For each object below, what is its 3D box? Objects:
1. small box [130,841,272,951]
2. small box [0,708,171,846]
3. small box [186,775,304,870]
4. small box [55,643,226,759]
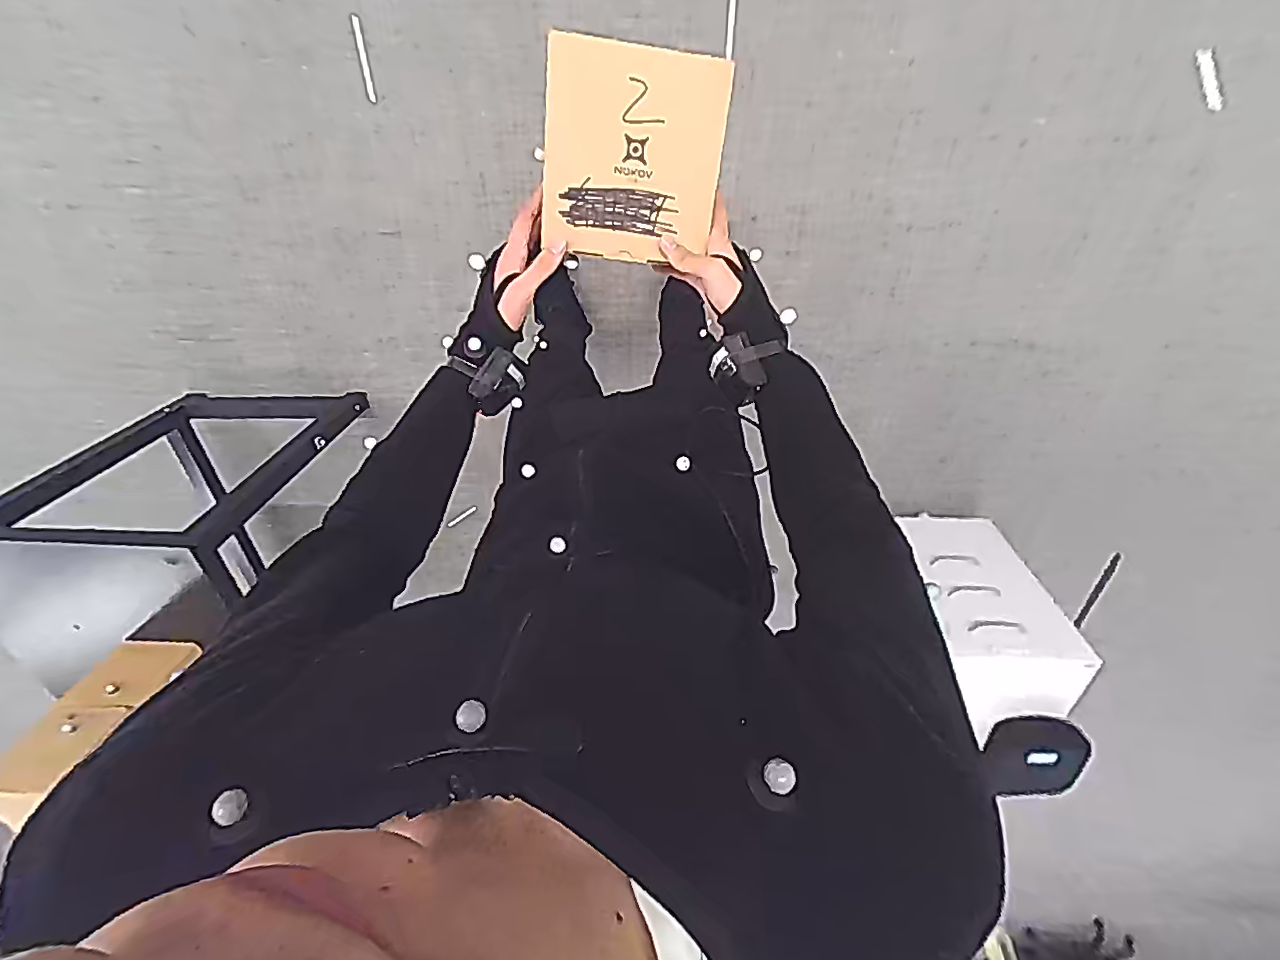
[{"bbox_3d":[-1.056,1.010,1.319,0.179,0.176,0.168,0,124,3],"label":"small box"},{"bbox_3d":[-1.061,0.561,1.026,0.168,0.176,0.179,-2,122,5],"label":"small box"},{"bbox_3d":[-1.045,0.921,1.456,0.179,0.176,0.168,0,123,4],"label":"small box"},{"bbox_3d":[-1.058,0.471,1.164,0.179,0.176,0.168,1,123,3],"label":"small box"}]
